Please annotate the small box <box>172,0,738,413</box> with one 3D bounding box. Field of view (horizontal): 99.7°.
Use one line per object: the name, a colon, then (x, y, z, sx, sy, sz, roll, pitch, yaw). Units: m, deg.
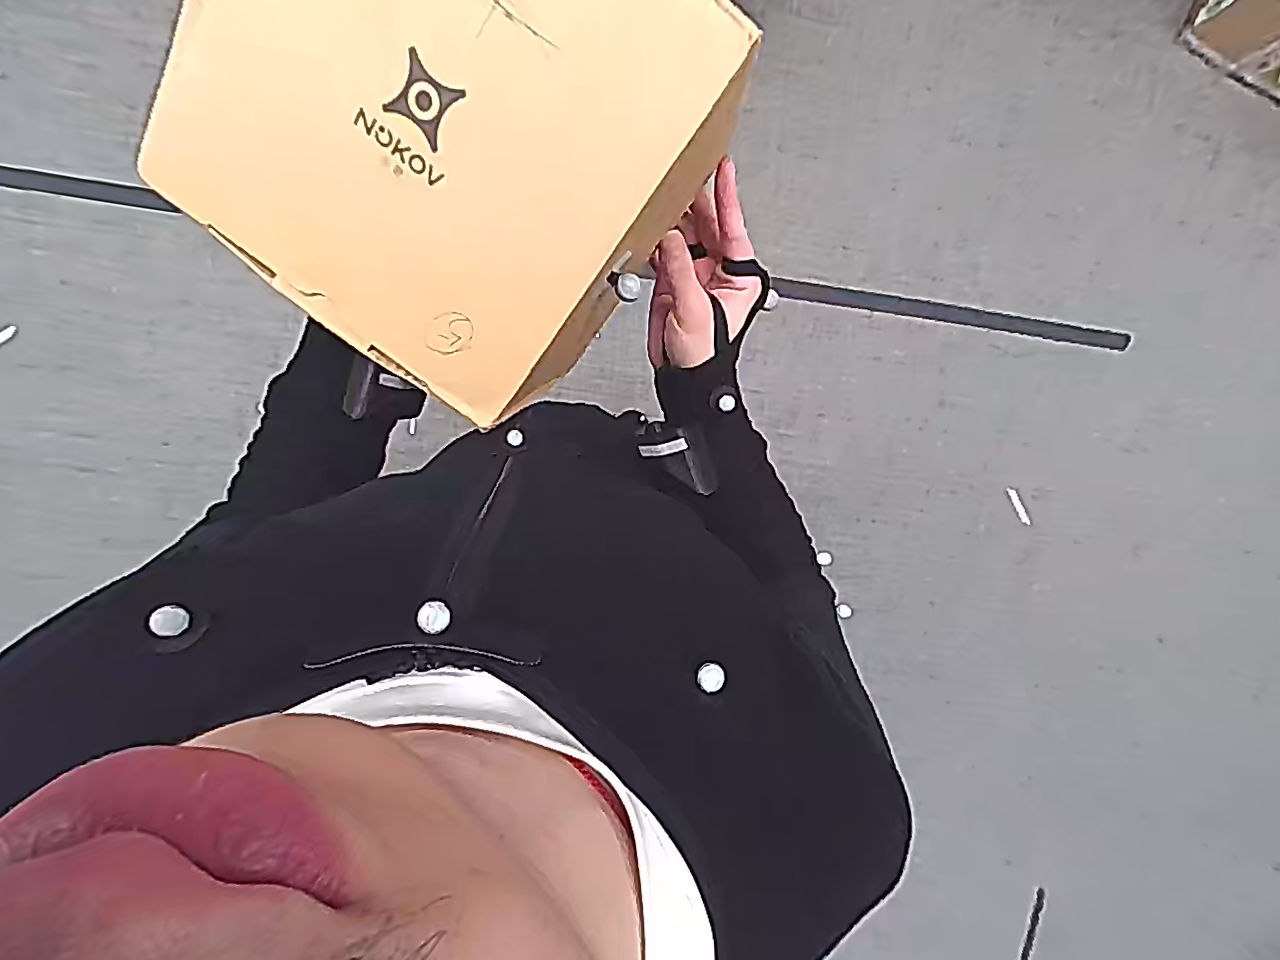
small box: (-0.070, -0.166, 0.280, 0.168, 0.176, 0.179, 37, 109, -9)
